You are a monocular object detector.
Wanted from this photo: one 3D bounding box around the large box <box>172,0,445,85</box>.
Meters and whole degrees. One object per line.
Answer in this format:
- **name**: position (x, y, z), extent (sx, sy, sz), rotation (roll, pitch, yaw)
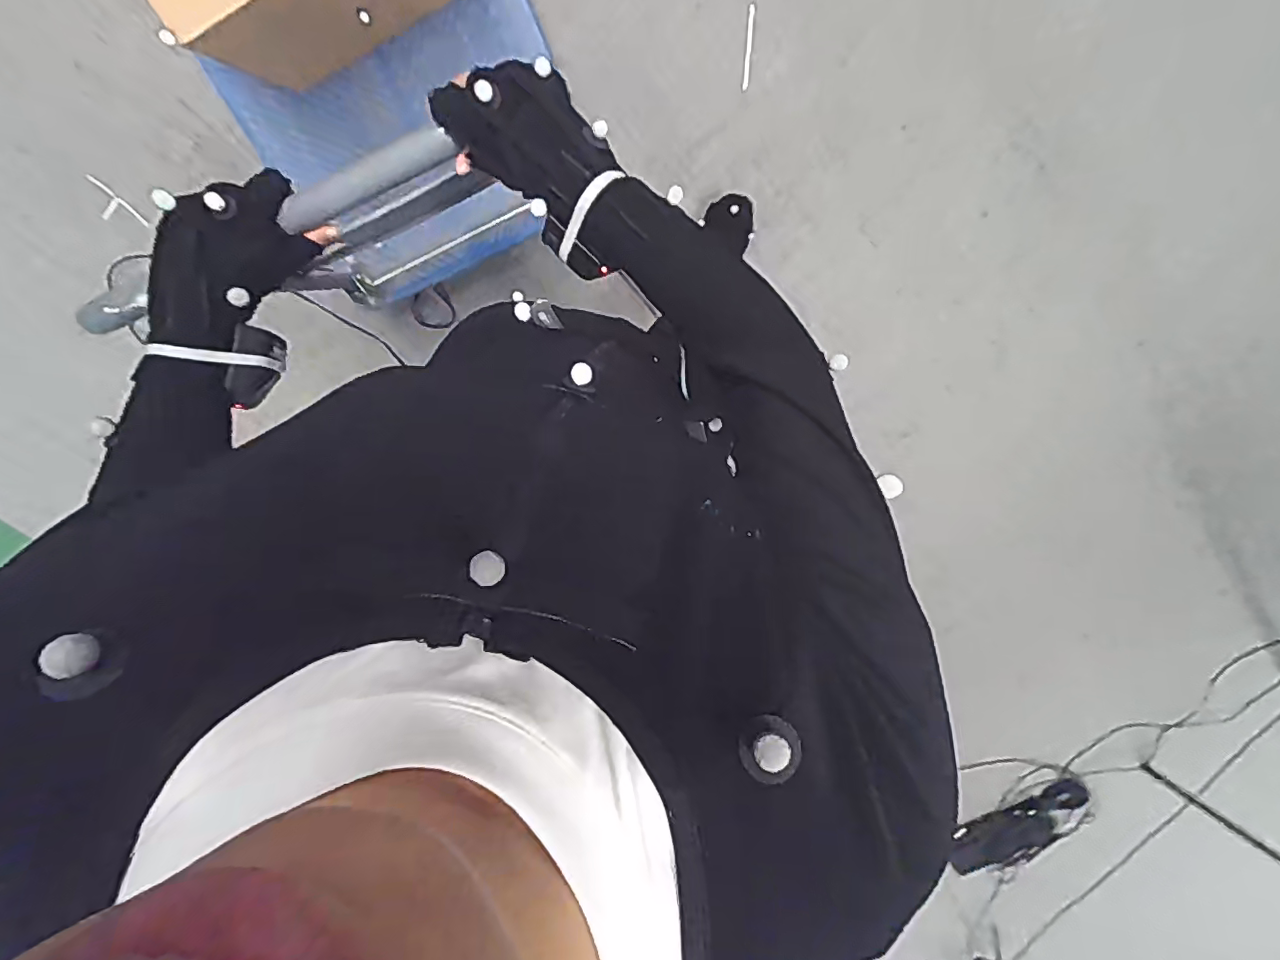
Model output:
- **large box**: position (-0.477, -0.847, 0.756), extent (0.408, 0.320, 0.320), rotation (-24, 114, 9)
